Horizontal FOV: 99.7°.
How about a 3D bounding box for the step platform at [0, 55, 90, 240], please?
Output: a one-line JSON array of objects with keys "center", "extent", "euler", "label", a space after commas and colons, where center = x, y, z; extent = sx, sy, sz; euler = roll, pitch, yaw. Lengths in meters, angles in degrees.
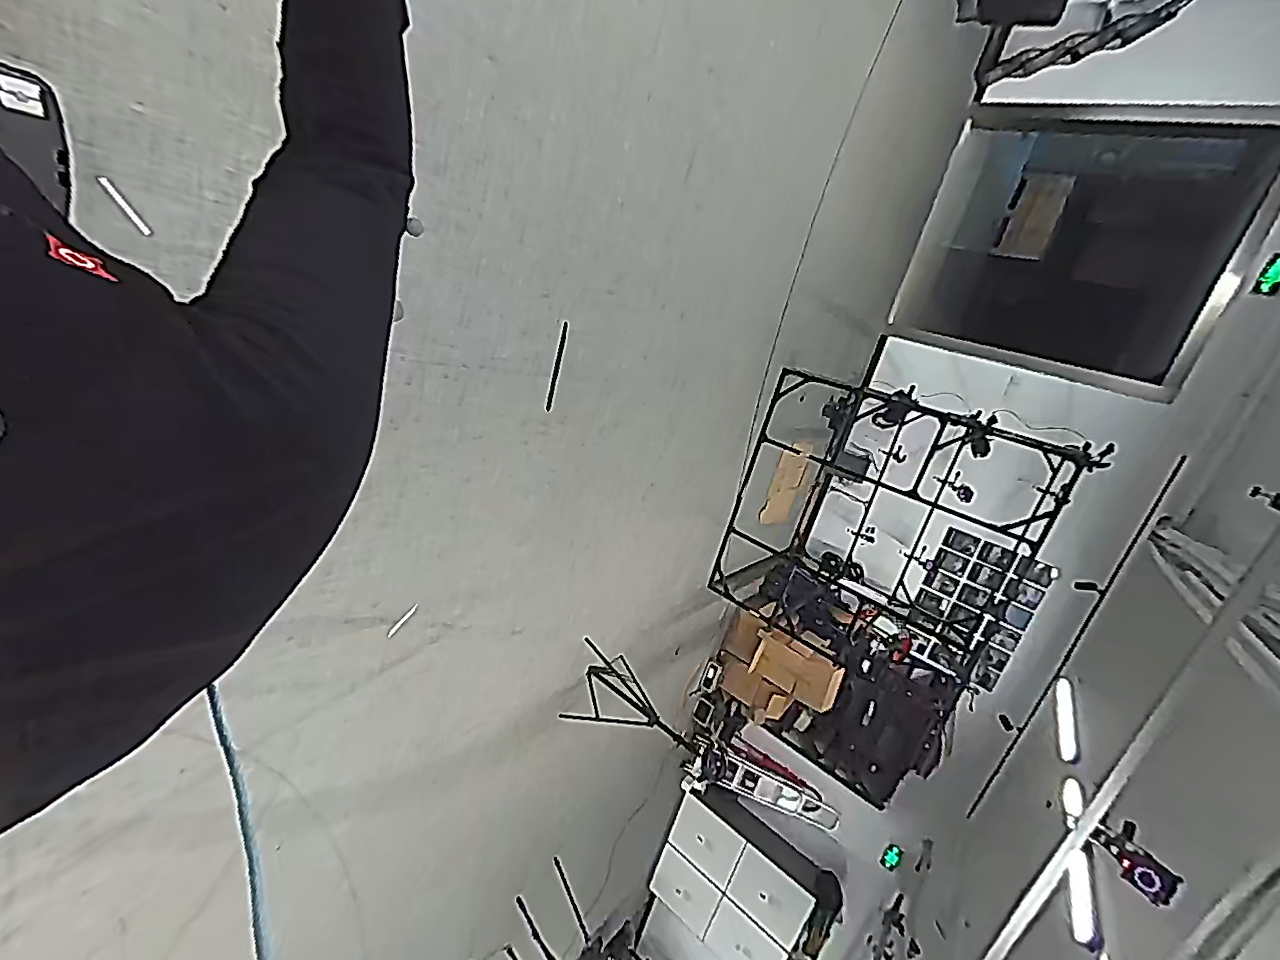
[{"center": [-1.275, -0.570, 0.774], "extent": [0.684, 0.204, 0.286], "euler": [-11, 122, -54], "label": "step platform"}]
